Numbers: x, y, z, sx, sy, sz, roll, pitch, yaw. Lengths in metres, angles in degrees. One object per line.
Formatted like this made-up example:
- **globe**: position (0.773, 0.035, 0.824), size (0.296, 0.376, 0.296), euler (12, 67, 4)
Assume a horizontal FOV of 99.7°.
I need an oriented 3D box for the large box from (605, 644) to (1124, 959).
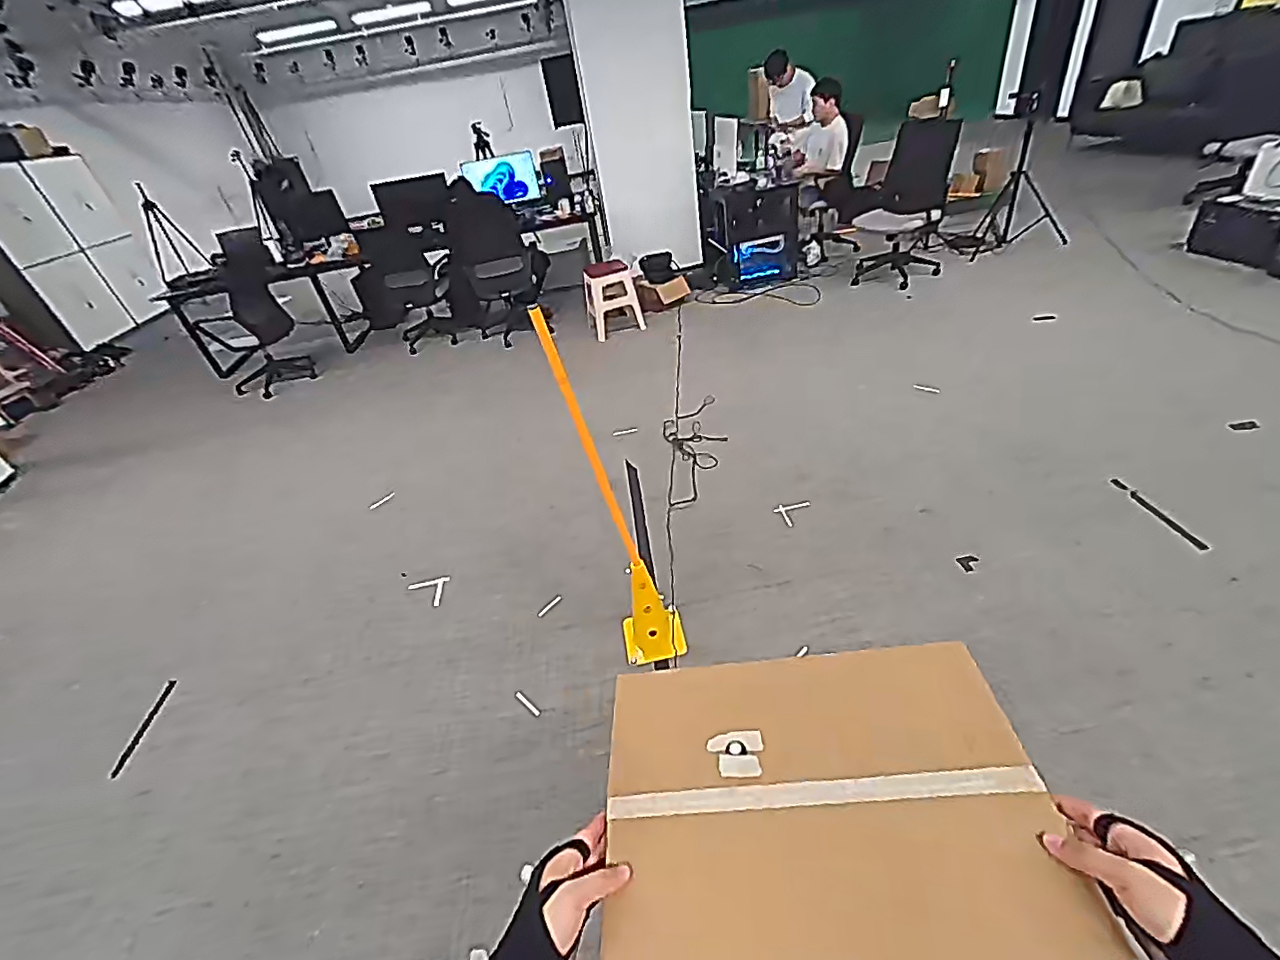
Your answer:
- **large box**: position (0.199, 0.429, 0.613), size (0.408, 0.320, 0.320), euler (-9, 34, 8)
